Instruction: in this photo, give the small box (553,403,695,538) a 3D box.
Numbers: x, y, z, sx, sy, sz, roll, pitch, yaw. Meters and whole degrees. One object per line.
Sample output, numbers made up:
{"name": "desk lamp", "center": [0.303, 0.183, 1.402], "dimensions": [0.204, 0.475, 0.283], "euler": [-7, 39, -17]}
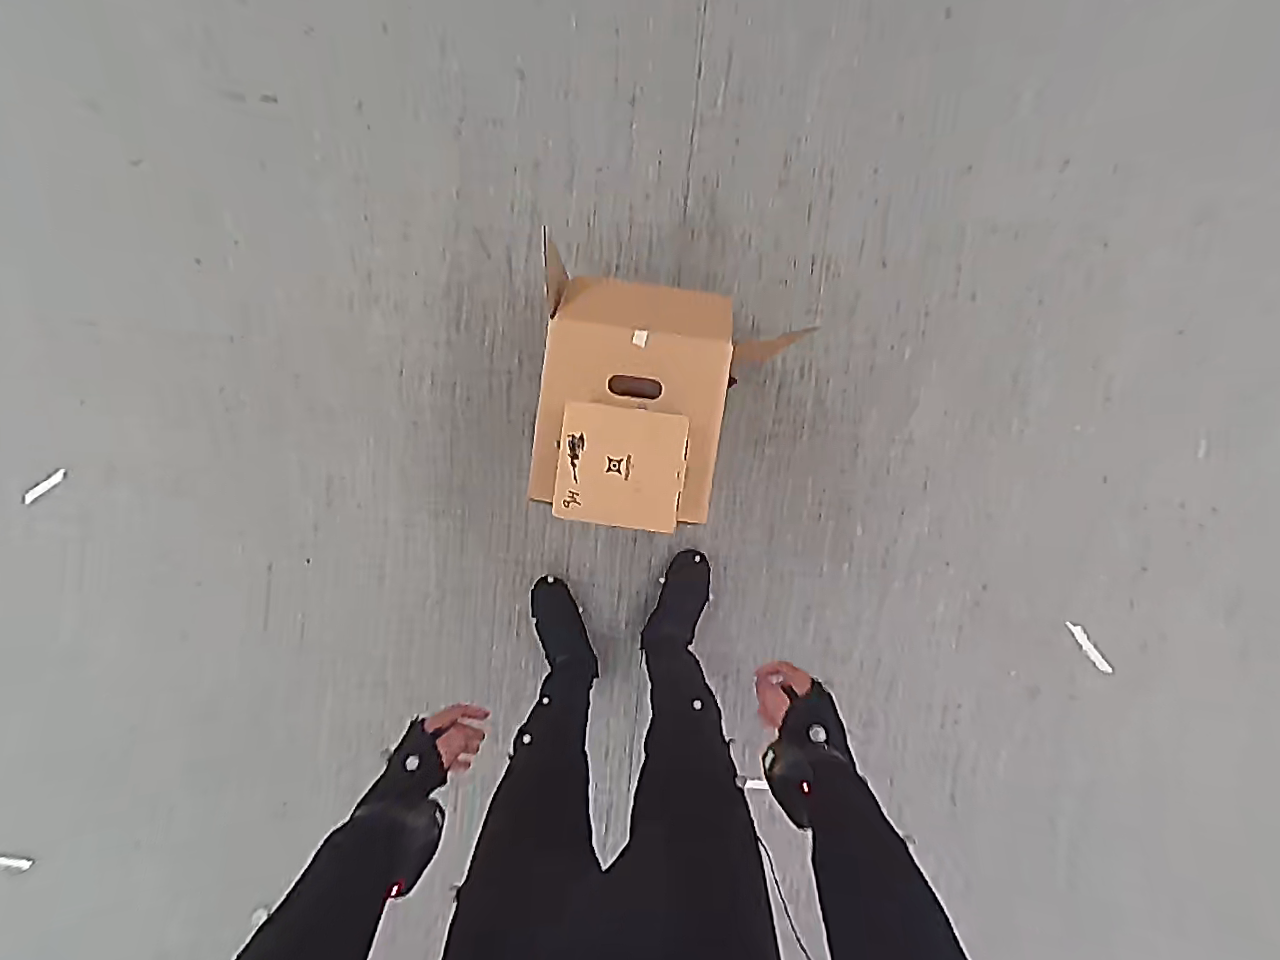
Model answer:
{"name": "small box", "center": [-0.022, -0.020, 0.815], "dimensions": [0.179, 0.176, 0.168], "euler": [8, 96, 0]}
